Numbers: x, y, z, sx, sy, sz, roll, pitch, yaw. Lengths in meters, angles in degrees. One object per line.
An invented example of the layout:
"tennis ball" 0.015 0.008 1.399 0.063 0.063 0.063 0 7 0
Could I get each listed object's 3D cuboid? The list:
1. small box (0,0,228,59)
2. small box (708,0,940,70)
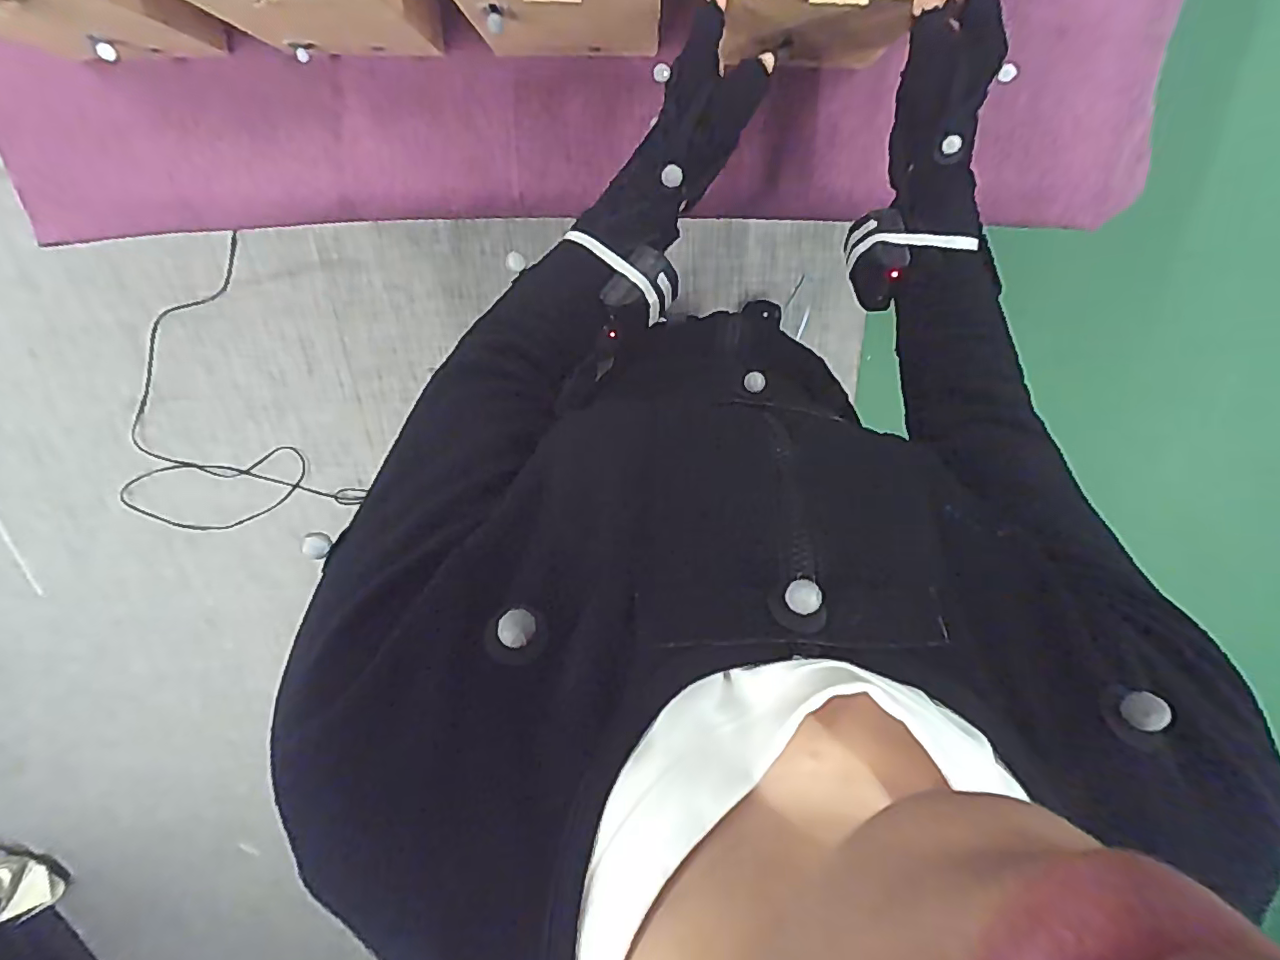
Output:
"small box" -0.498 -0.483 0.448 0.168 0.176 0.179 0 114 1
"small box" 0.151 -0.475 0.448 0.168 0.176 0.179 2 114 0
